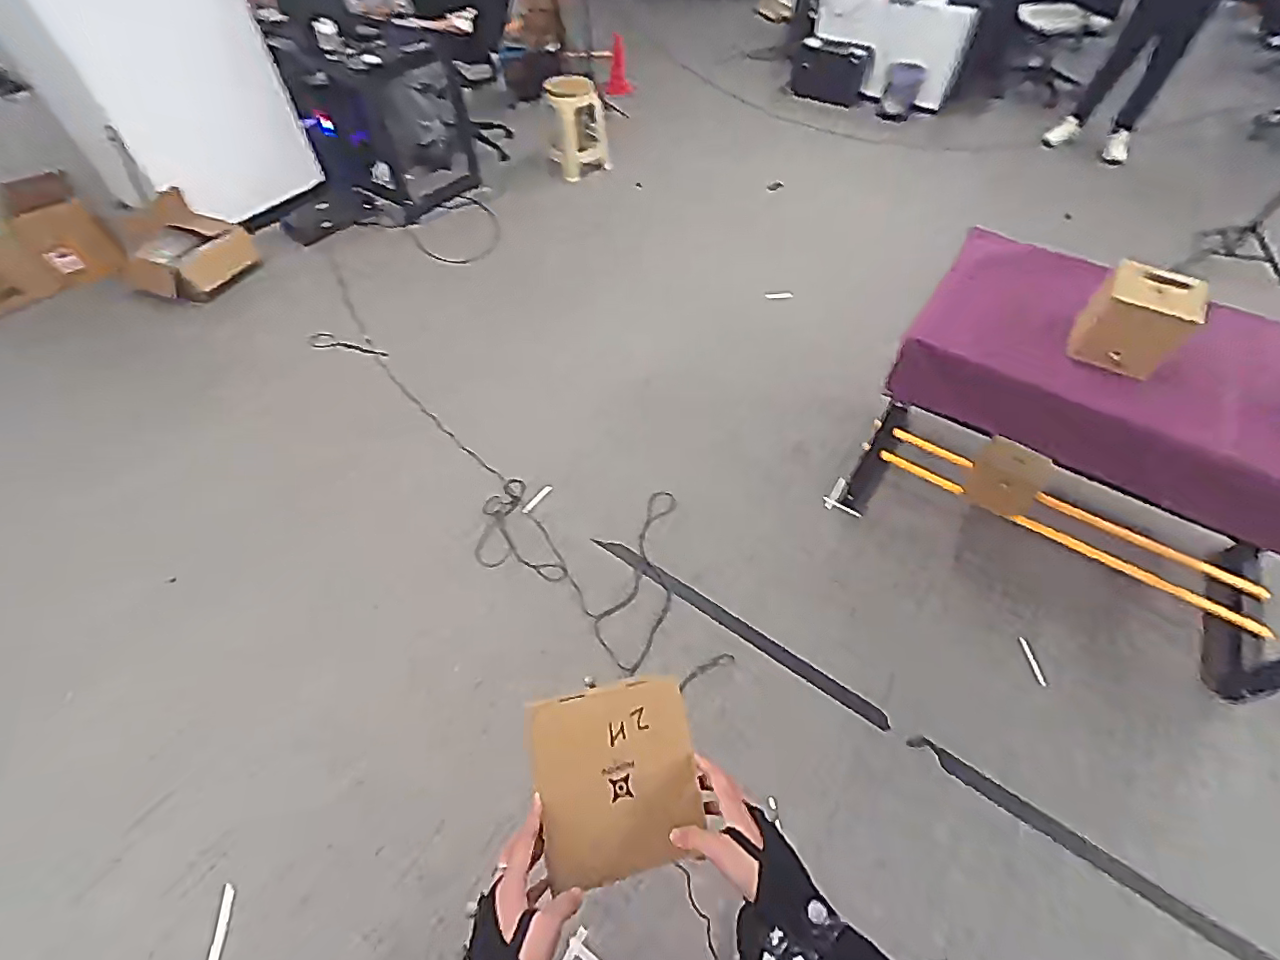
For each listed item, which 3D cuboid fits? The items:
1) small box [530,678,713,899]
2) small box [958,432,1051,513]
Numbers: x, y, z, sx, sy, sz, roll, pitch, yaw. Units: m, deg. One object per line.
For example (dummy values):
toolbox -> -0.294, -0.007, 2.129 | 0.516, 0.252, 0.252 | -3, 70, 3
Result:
small box -> -0.034, 0.335, 0.629 | 0.168, 0.176, 0.179 | -5, 71, -17
small box -> 1.177, -0.018, 1.752 | 0.179, 0.176, 0.168 | 28, 58, 19
